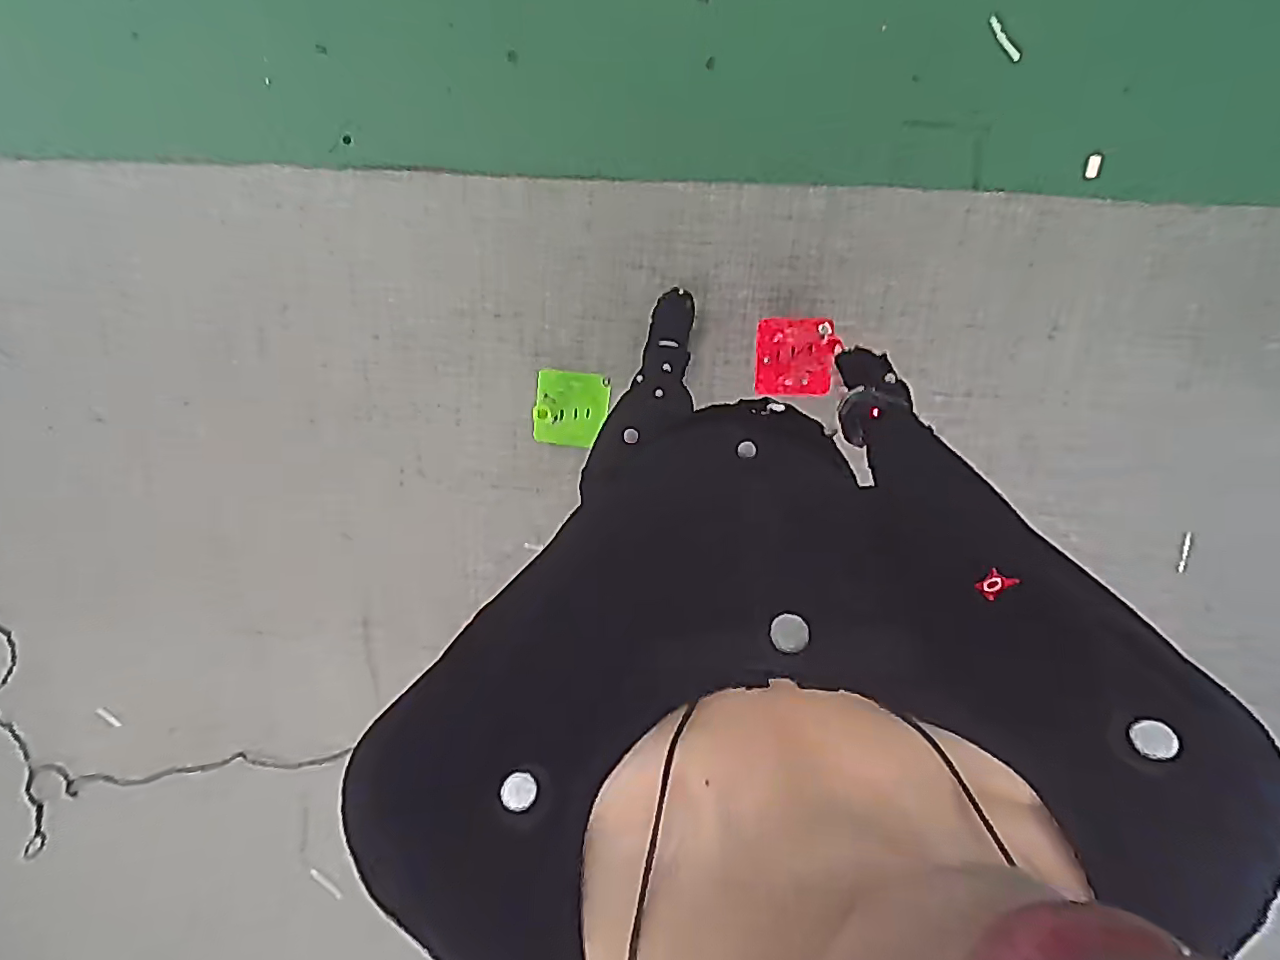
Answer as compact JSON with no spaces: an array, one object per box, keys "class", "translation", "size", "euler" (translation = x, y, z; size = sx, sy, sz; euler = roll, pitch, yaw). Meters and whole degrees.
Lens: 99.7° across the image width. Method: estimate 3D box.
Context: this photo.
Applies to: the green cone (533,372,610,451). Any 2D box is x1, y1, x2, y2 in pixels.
[{"class":"green cone","translation":[-0.198,-0.157,1.305],"size":[0.200,0.368,0.202],"euler":[6,100,3]}]
